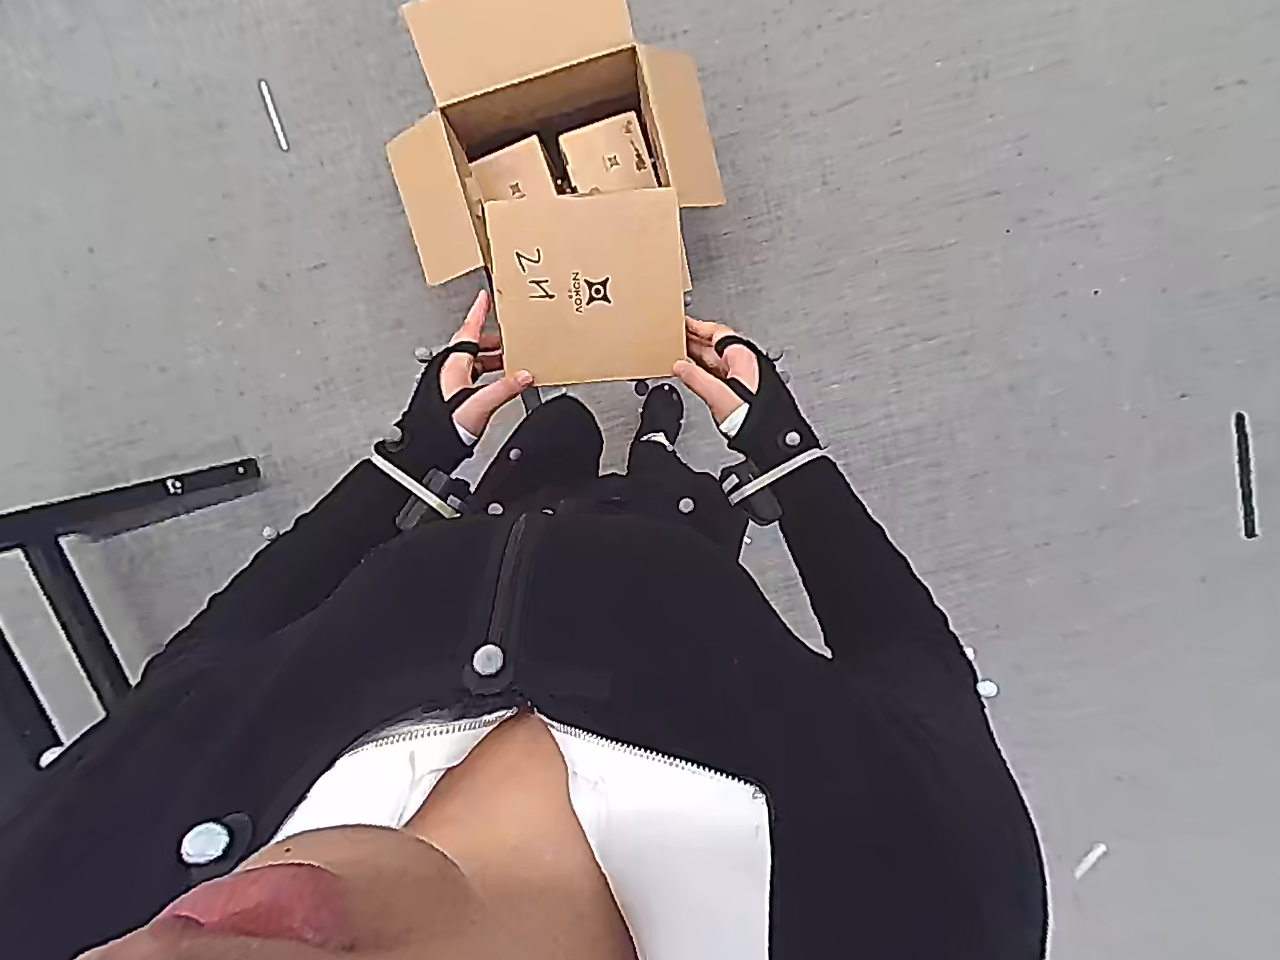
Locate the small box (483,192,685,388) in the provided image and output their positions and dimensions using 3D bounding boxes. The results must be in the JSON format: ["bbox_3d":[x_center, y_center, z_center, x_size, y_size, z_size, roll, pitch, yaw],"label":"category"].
[{"bbox_3d":[-0.050,-0.191,0.578,0.179,0.176,0.168,-5,102,1],"label":"small box"}]
